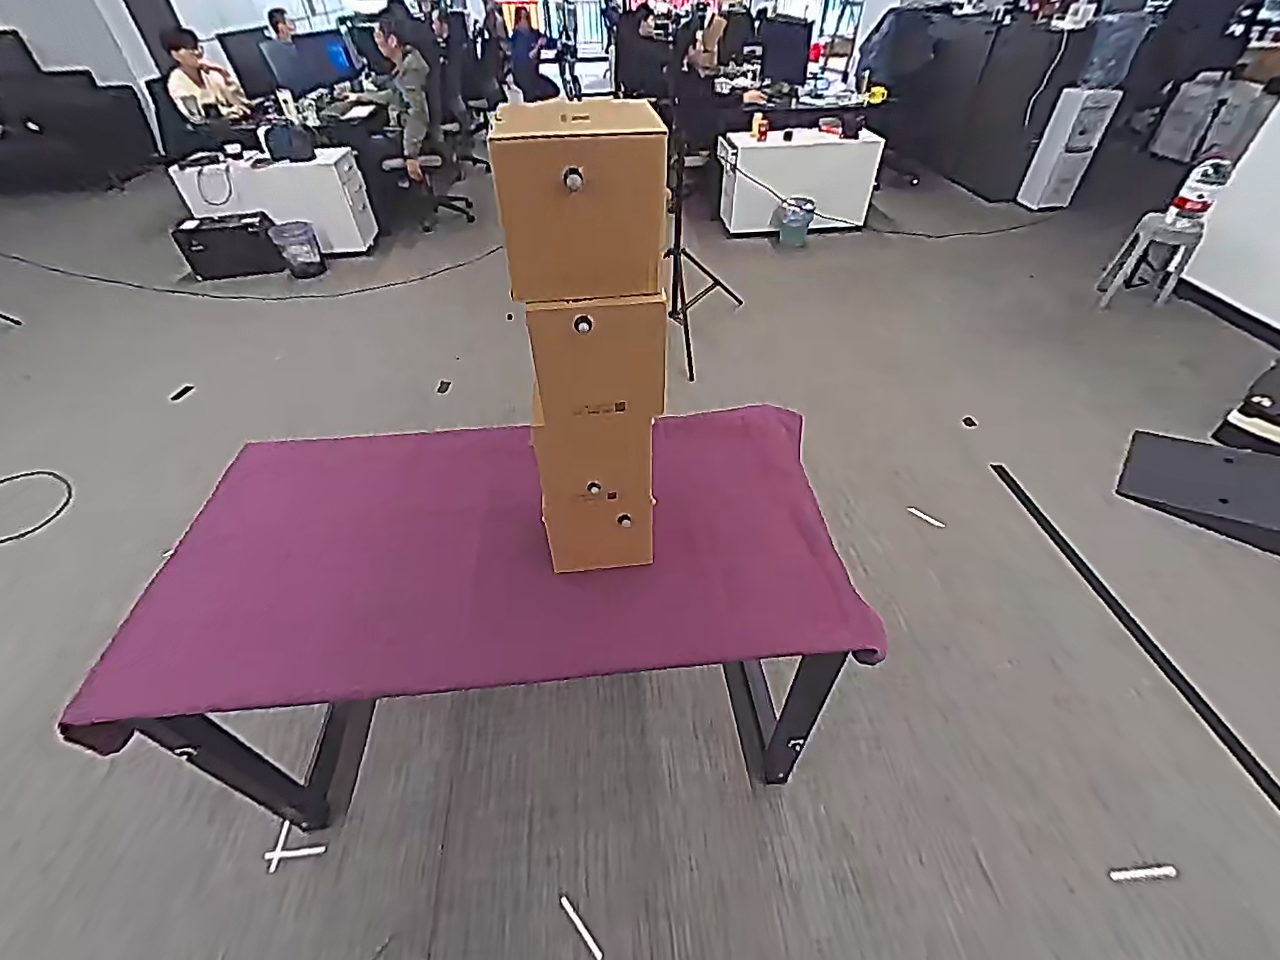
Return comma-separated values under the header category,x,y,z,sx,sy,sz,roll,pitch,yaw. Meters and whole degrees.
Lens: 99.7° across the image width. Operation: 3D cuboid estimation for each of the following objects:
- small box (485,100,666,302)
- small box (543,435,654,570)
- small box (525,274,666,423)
category,x,y,z,sx,sy,sz,roll,pitch,yaw
small box,-0.069,-0.323,0.630,0.179,0.176,0.168,-6,44,-4
small box,-0.072,0.041,0.959,0.179,0.176,0.168,-6,43,-4
small box,-0.059,-0.198,0.734,0.168,0.176,0.179,-6,43,-4
